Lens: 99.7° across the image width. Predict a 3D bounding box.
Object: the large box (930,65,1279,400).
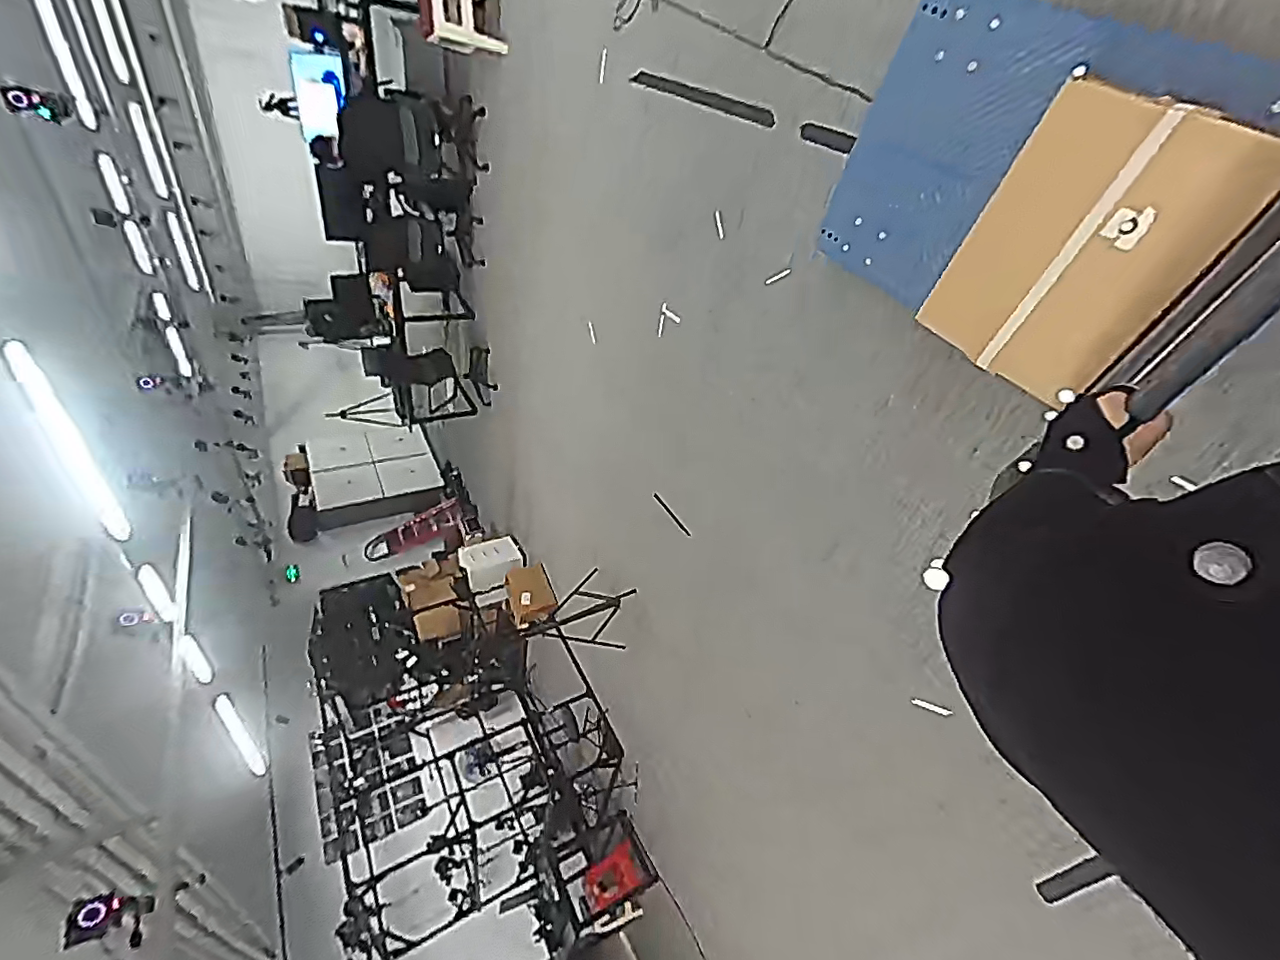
[{"bbox_3d":[0.808,-0.407,0.926,0.320,0.320,0.408,49,142,29],"label":"large box"}]
